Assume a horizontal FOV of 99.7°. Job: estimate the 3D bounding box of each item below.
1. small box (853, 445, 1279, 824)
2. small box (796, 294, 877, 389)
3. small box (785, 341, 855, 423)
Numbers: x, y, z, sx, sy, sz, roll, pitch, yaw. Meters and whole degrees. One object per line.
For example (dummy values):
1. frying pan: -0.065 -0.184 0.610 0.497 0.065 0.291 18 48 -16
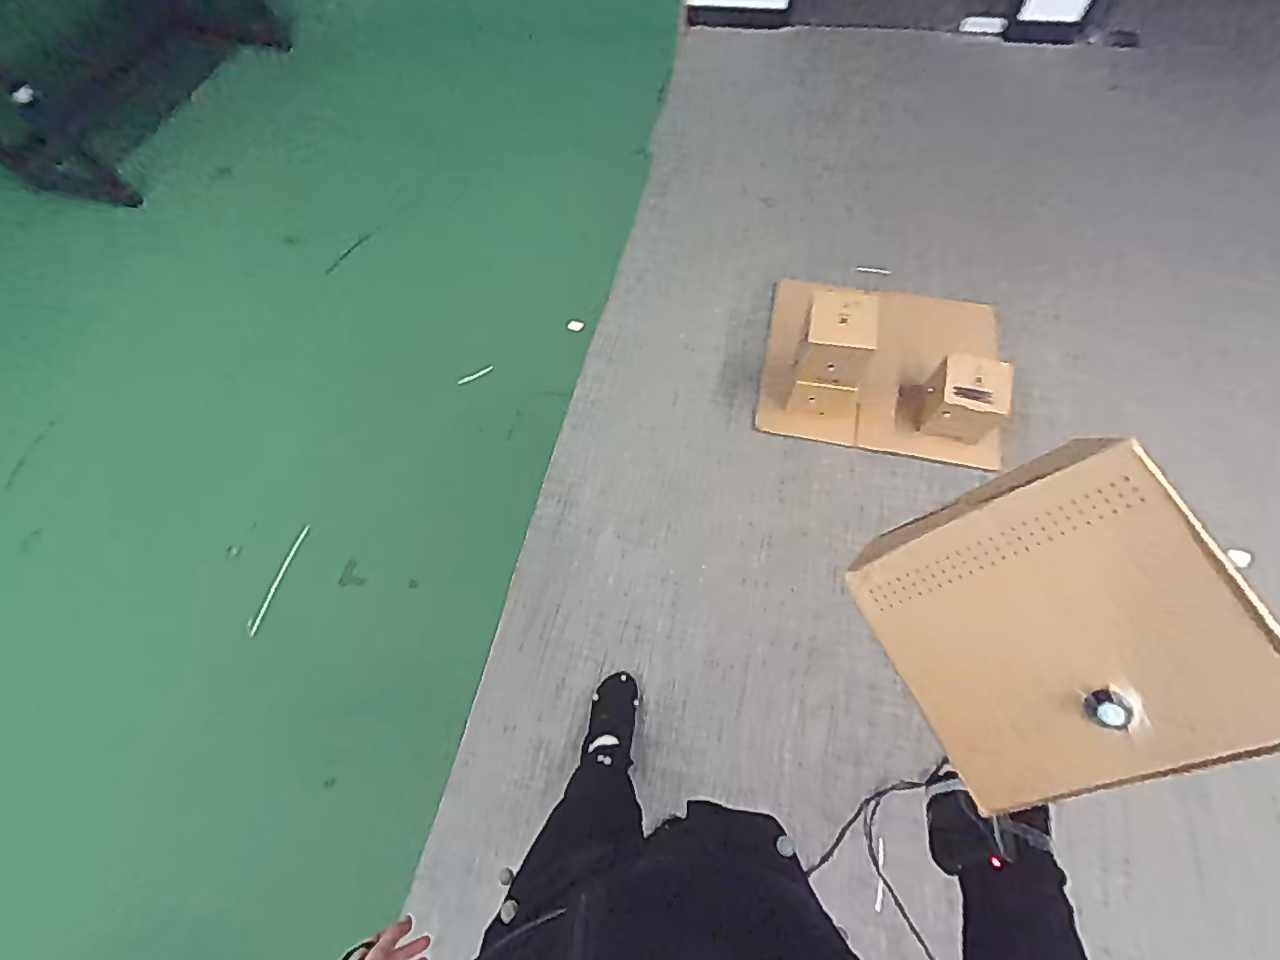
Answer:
1. small box: 0.278 0.087 0.370 0.179 0.168 0.176 -34 76 27
2. small box: 0.517 -0.363 1.436 0.168 0.176 0.179 9 65 7
3. small box: 0.527 -0.287 1.583 0.168 0.176 0.179 9 65 7
